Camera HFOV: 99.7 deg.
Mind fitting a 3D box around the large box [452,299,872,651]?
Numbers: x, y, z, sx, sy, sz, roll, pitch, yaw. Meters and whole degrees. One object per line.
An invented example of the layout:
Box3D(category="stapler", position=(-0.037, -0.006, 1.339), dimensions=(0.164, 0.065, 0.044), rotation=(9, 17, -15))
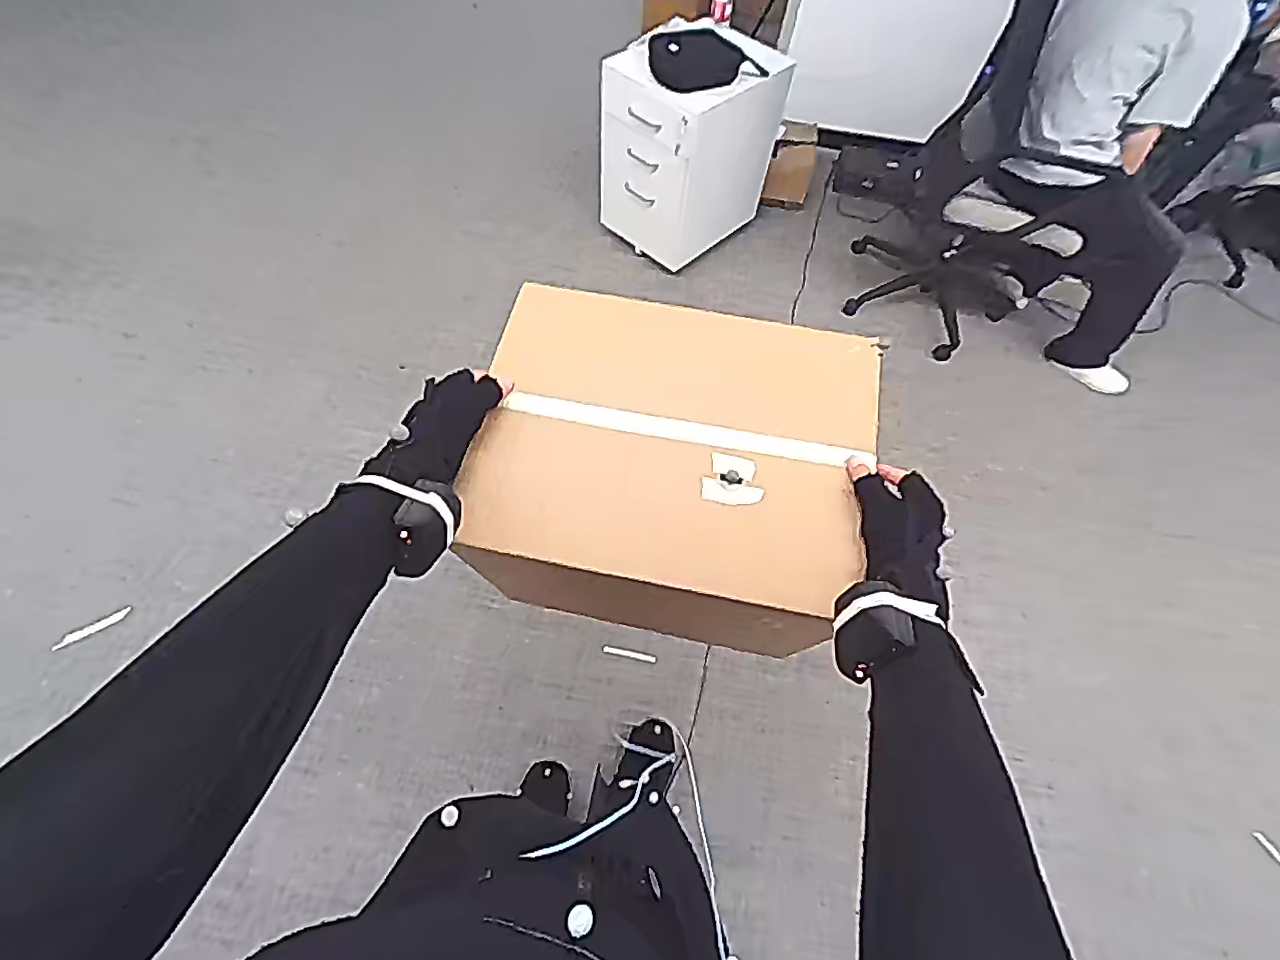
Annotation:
Box3D(category="large box", position=(0.037, 0.014, 0.703), dimensions=(0.408, 0.320, 0.320), rotation=(11, 68, 5))
